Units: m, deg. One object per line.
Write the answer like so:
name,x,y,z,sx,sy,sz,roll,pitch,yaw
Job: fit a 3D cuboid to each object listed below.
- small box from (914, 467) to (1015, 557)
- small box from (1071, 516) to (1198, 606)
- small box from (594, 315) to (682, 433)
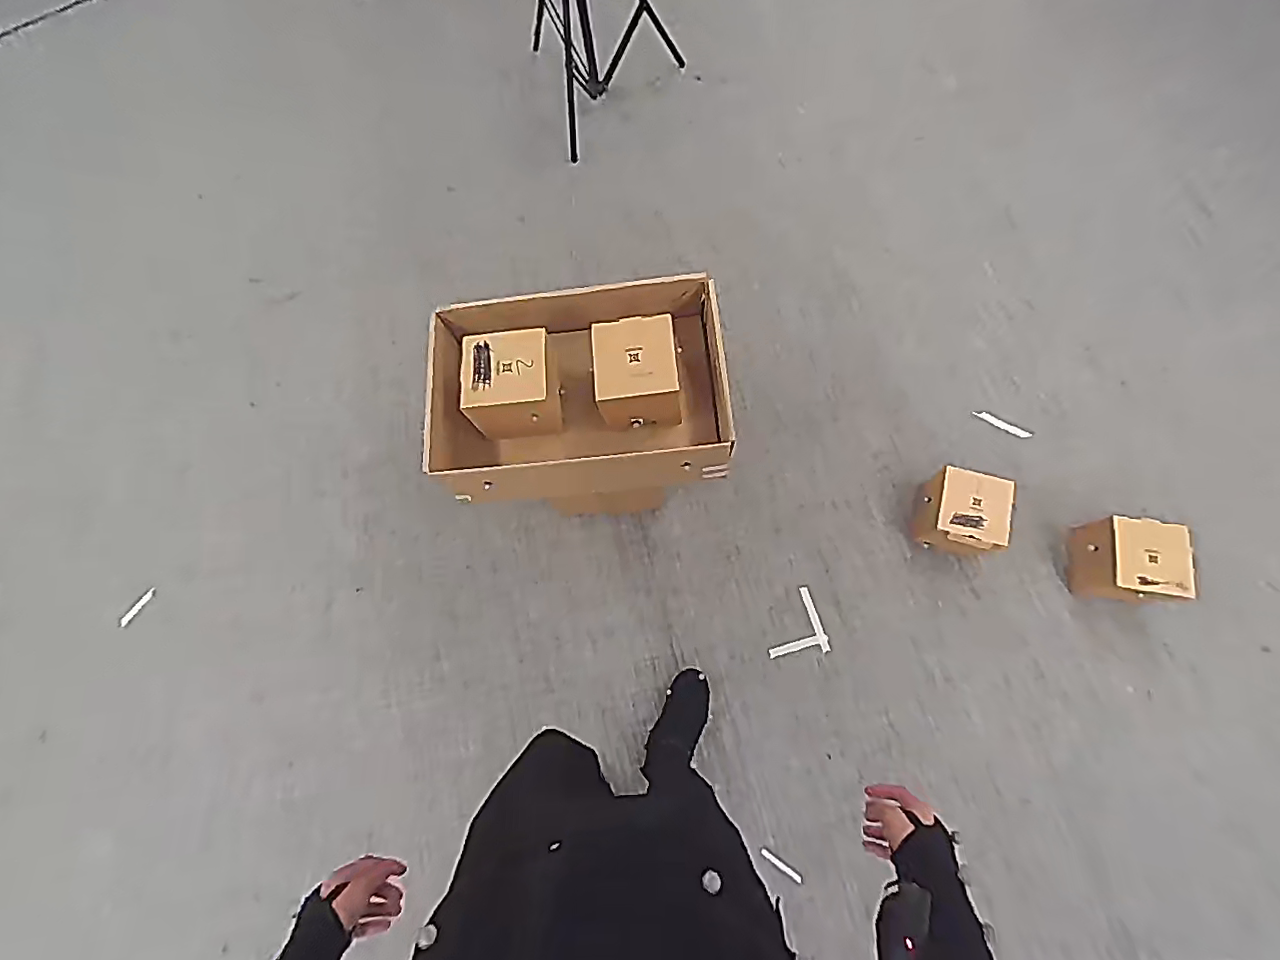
small box,0.837,0.090,1.409,0.168,0.176,0.179,16,74,10
small box,1.209,0.204,1.338,0.168,0.176,0.179,9,73,8
small box,-0.001,-0.219,1.145,0.168,0.176,0.179,-7,71,5
